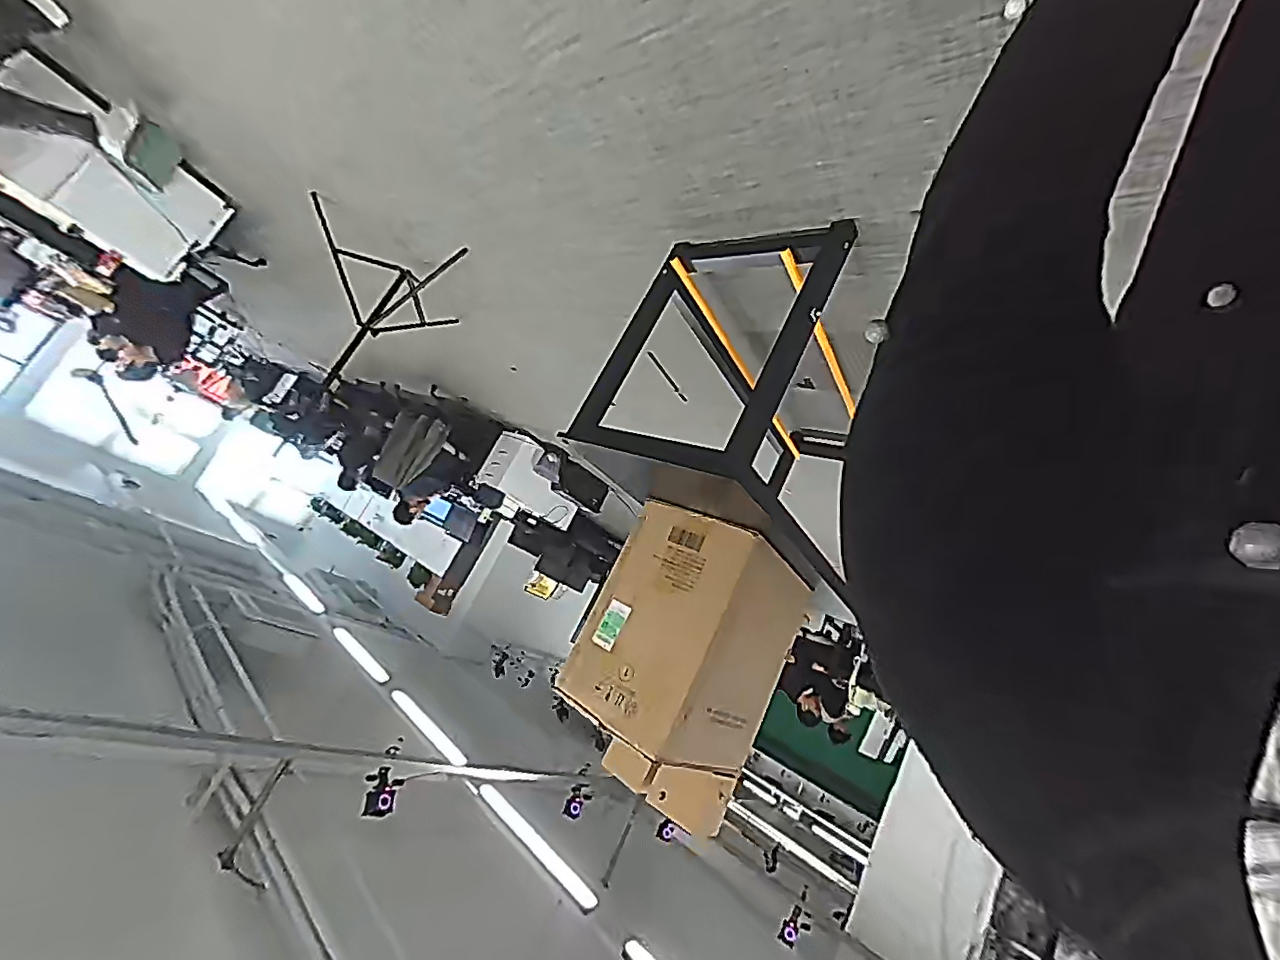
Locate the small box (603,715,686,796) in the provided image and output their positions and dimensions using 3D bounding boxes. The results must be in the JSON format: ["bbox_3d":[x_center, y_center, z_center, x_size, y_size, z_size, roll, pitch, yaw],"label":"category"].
[{"bbox_3d":[0.022,0.883,1.735,0.168,0.176,0.179,18,163,41],"label":"small box"}]

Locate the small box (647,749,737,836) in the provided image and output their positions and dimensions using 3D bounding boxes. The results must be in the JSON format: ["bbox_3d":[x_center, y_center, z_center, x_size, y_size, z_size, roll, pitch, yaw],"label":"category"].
[{"bbox_3d":[0.156,0.912,1.590,0.179,0.176,0.168,12,160,40],"label":"small box"}]
